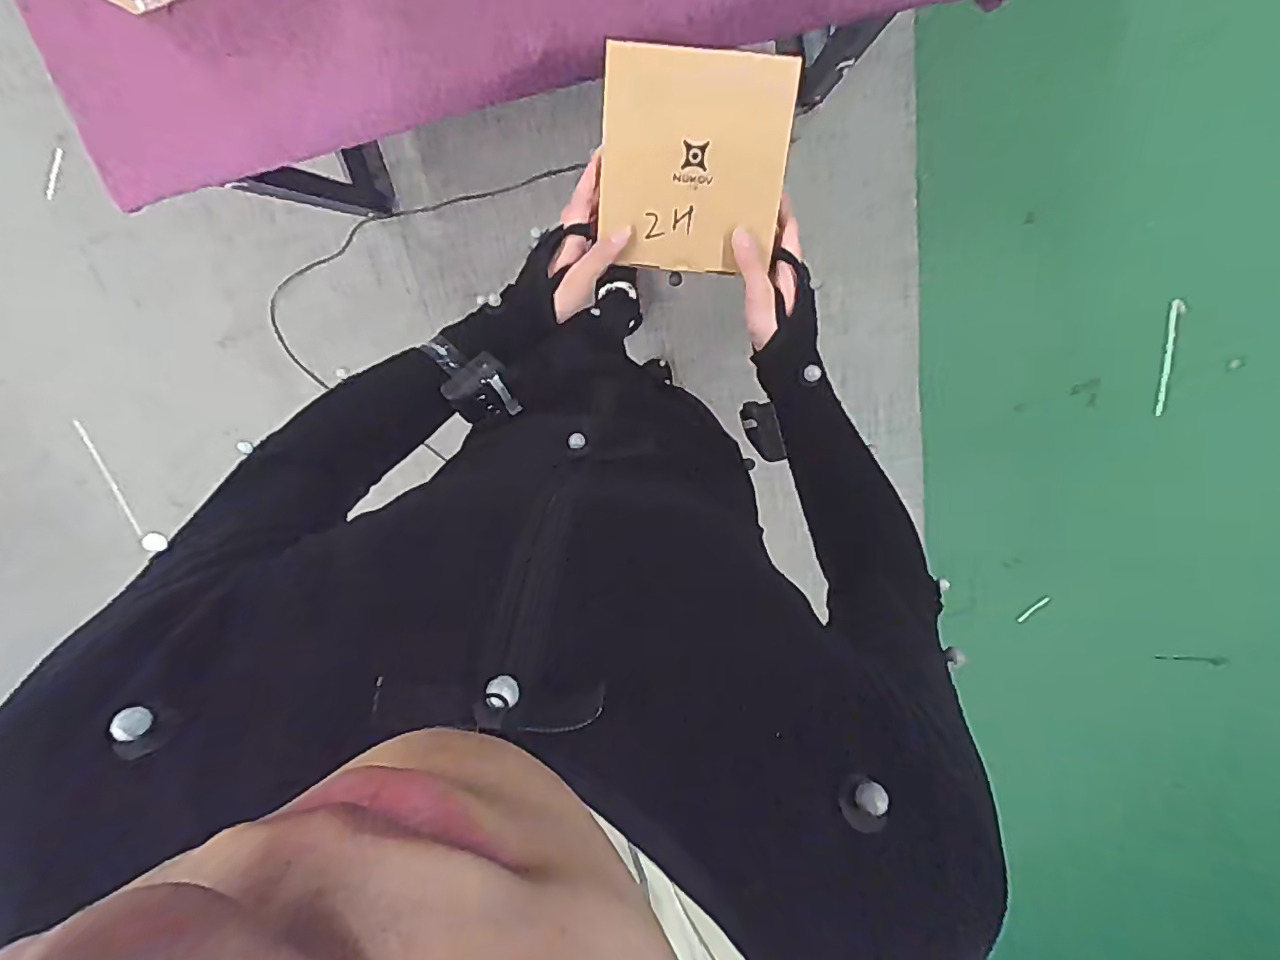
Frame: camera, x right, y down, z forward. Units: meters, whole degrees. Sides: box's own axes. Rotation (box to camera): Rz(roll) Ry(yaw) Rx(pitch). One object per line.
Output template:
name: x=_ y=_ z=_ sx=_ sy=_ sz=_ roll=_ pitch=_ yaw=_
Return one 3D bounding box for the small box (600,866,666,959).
small box: x=-0.014 y=1.273 z=1.584 sx=0.168 sy=0.176 sz=0.179 roll=-7 pitch=108 yaw=6

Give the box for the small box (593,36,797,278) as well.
small box: x=0.045 y=-0.309 z=0.555 sx=0.168 sy=0.176 sz=0.179 roll=6 pitch=111 yaw=0
